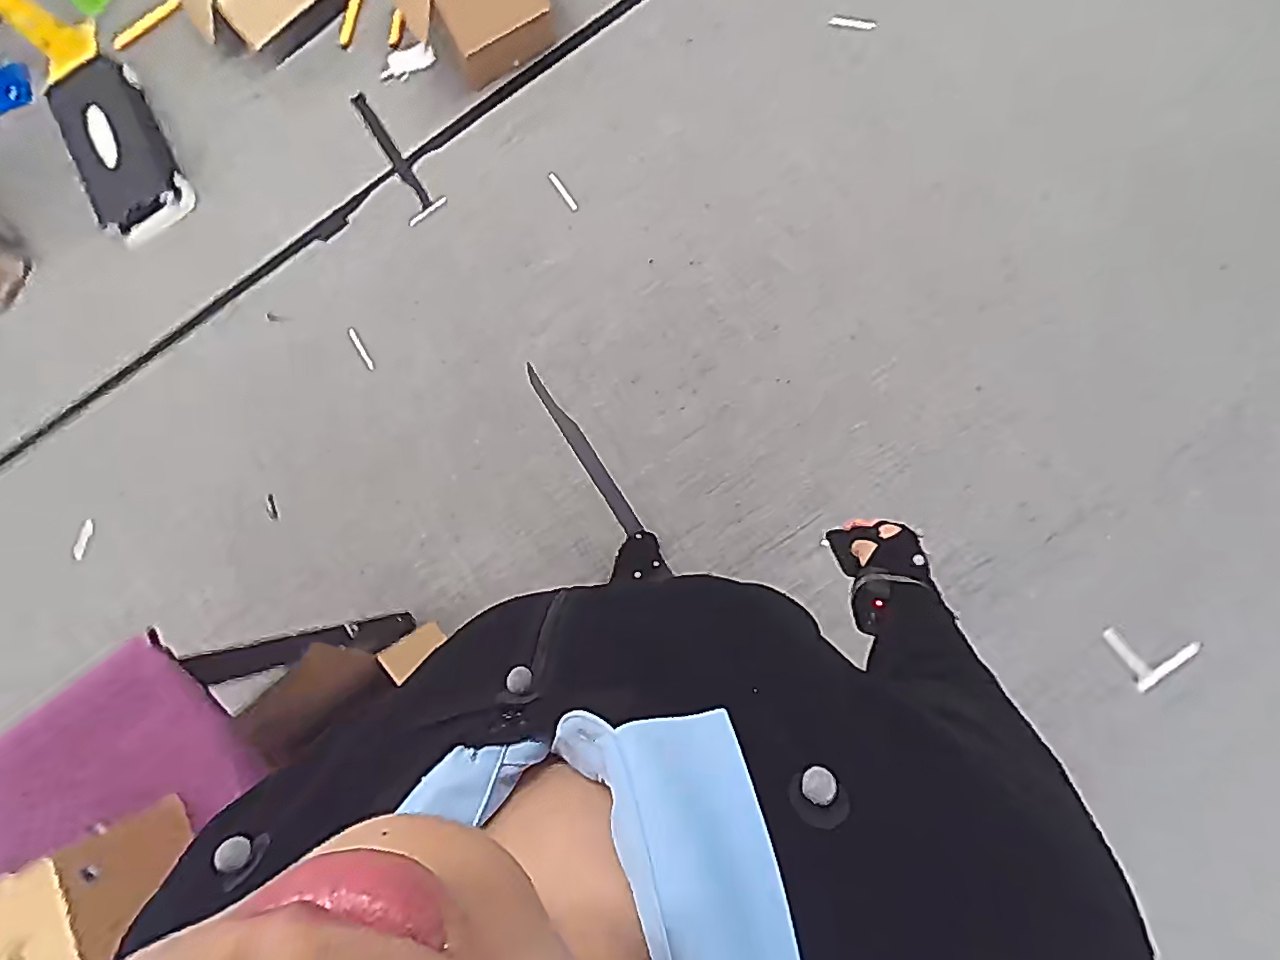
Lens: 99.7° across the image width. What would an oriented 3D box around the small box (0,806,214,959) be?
[{"bbox_3d":[-0.718,0.580,0.711,0.168,0.176,0.179,-30,79,2],"label":"small box"}]
